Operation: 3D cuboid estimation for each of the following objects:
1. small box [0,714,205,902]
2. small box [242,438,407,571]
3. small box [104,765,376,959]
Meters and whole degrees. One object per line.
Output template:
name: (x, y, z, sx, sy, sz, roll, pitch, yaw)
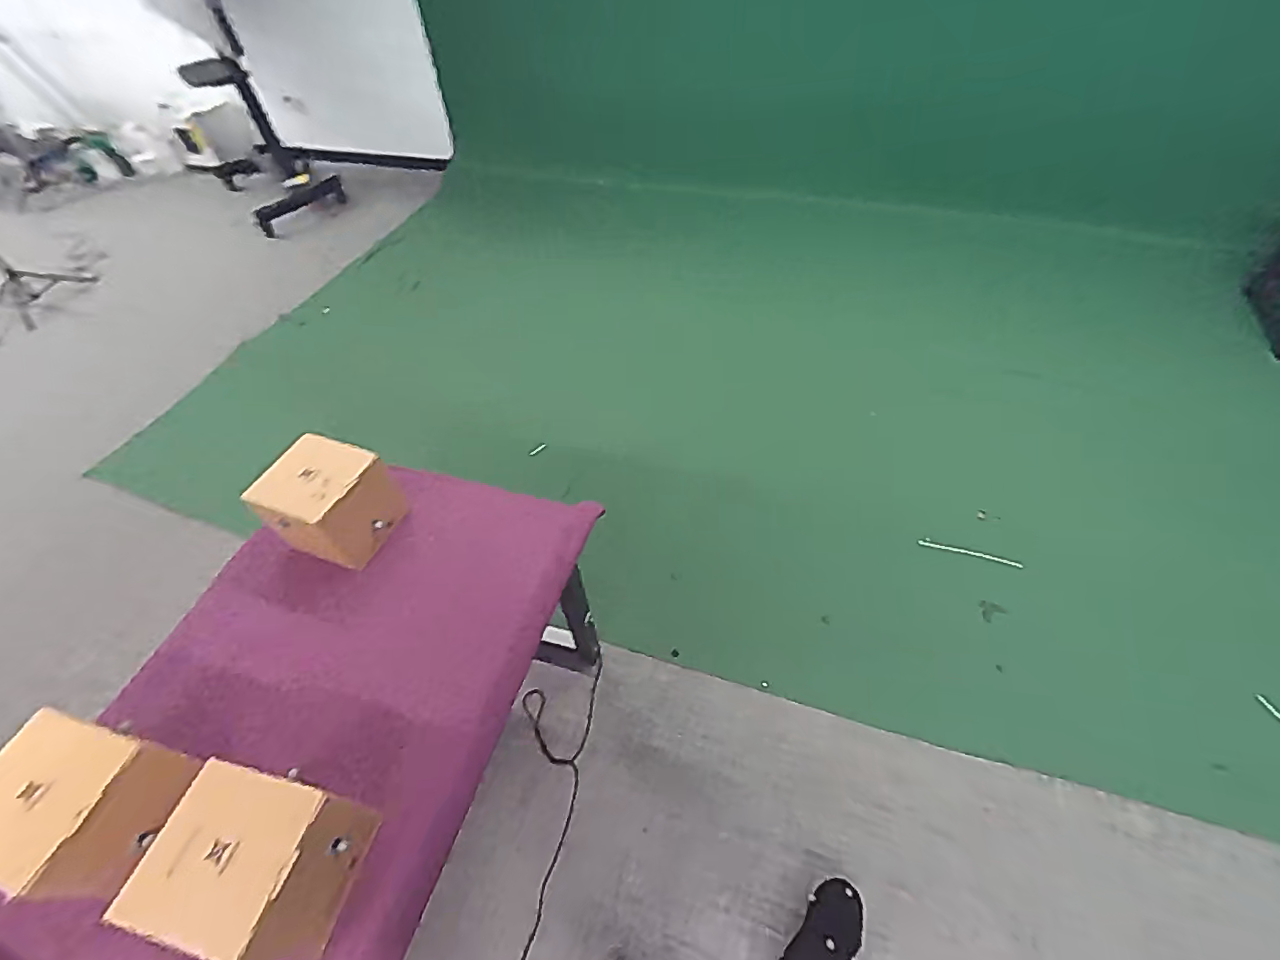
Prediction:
small box: (-0.744, 0.444, 0.727, 0.179, 0.176, 0.168, 11, 52, 12)
small box: (-0.588, 0.051, 1.031, 0.179, 0.176, 0.168, 16, 55, 15)
small box: (-0.472, 0.482, 0.675, 0.179, 0.176, 0.168, 8, 51, 12)
